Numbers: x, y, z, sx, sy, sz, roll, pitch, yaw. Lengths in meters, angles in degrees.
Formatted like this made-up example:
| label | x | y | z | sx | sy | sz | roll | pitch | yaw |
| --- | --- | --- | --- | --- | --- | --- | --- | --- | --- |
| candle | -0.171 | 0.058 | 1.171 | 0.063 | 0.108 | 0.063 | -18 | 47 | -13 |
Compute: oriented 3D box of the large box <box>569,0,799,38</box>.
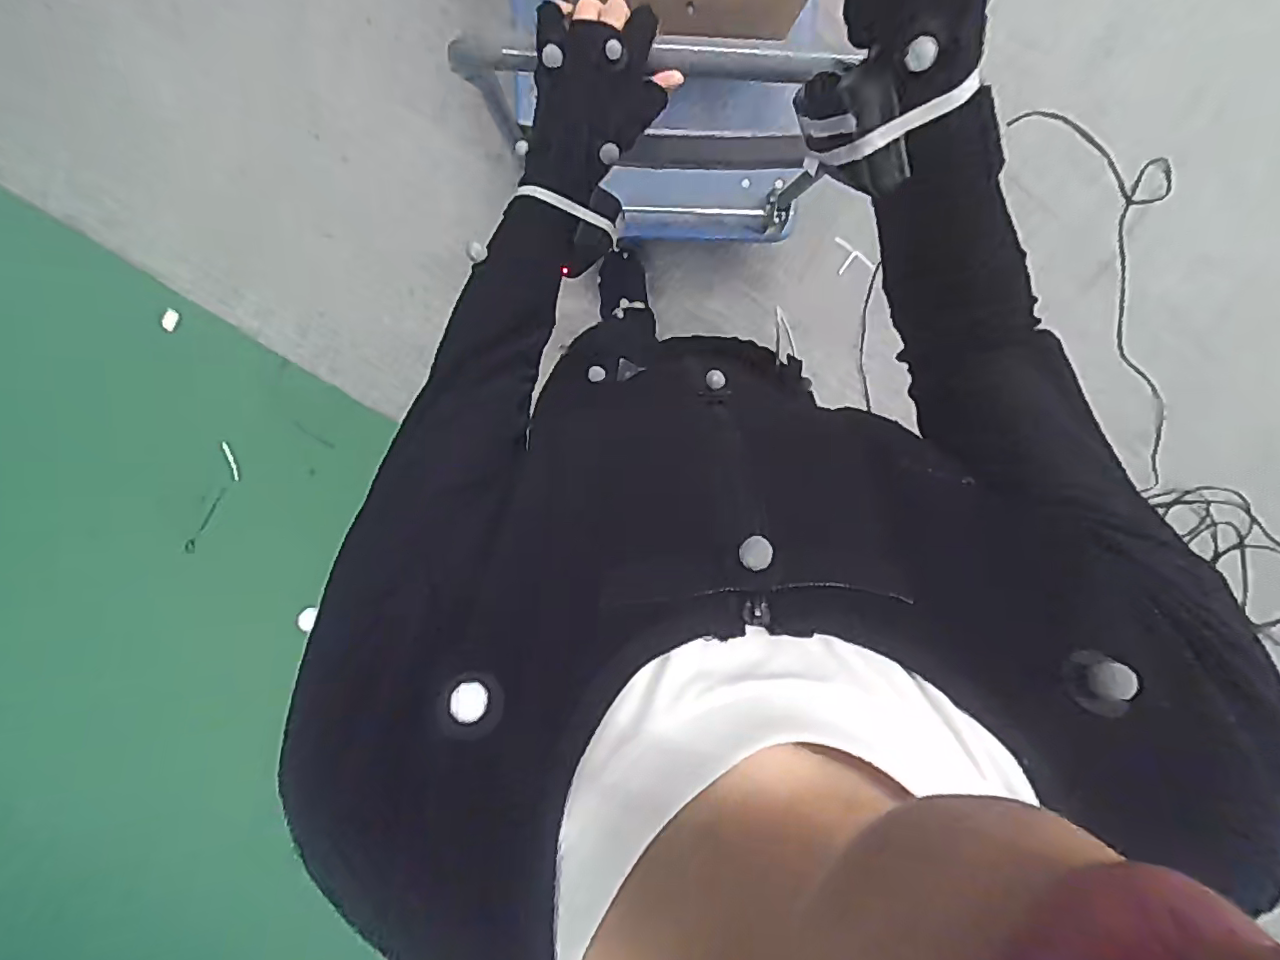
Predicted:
| label | x | y | z | sx | sy | sz | roll | pitch | yaw |
| --- | --- | --- | --- | --- | --- | --- | --- | --- | --- |
| large box | 0.075 | -0.949 | 0.849 | 0.408 | 0.320 | 0.320 | -2 | 108 | -1 |
